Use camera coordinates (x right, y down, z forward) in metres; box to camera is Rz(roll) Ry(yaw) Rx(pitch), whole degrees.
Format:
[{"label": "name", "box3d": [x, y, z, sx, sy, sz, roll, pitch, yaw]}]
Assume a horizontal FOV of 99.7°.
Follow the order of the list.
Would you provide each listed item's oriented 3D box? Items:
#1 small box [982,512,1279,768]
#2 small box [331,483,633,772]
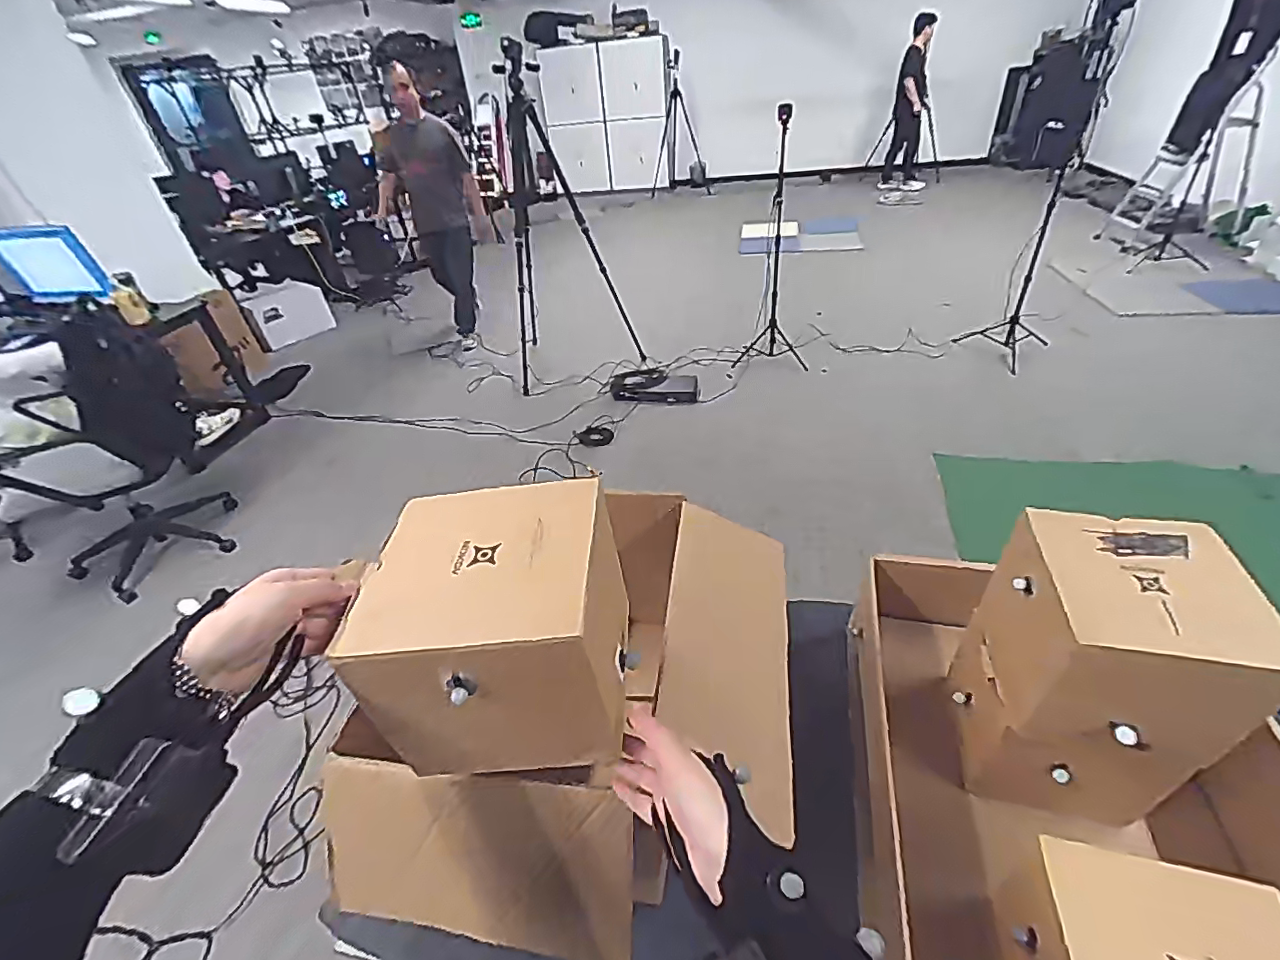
[{"label": "small box", "box3d": [0.479, 0.158, 0.557, 0.168, 0.176, 0.179, 5, 40, 15]}, {"label": "small box", "box3d": [-0.106, 0.125, 0.455, 0.179, 0.176, 0.168, -6, 37, 4]}]
